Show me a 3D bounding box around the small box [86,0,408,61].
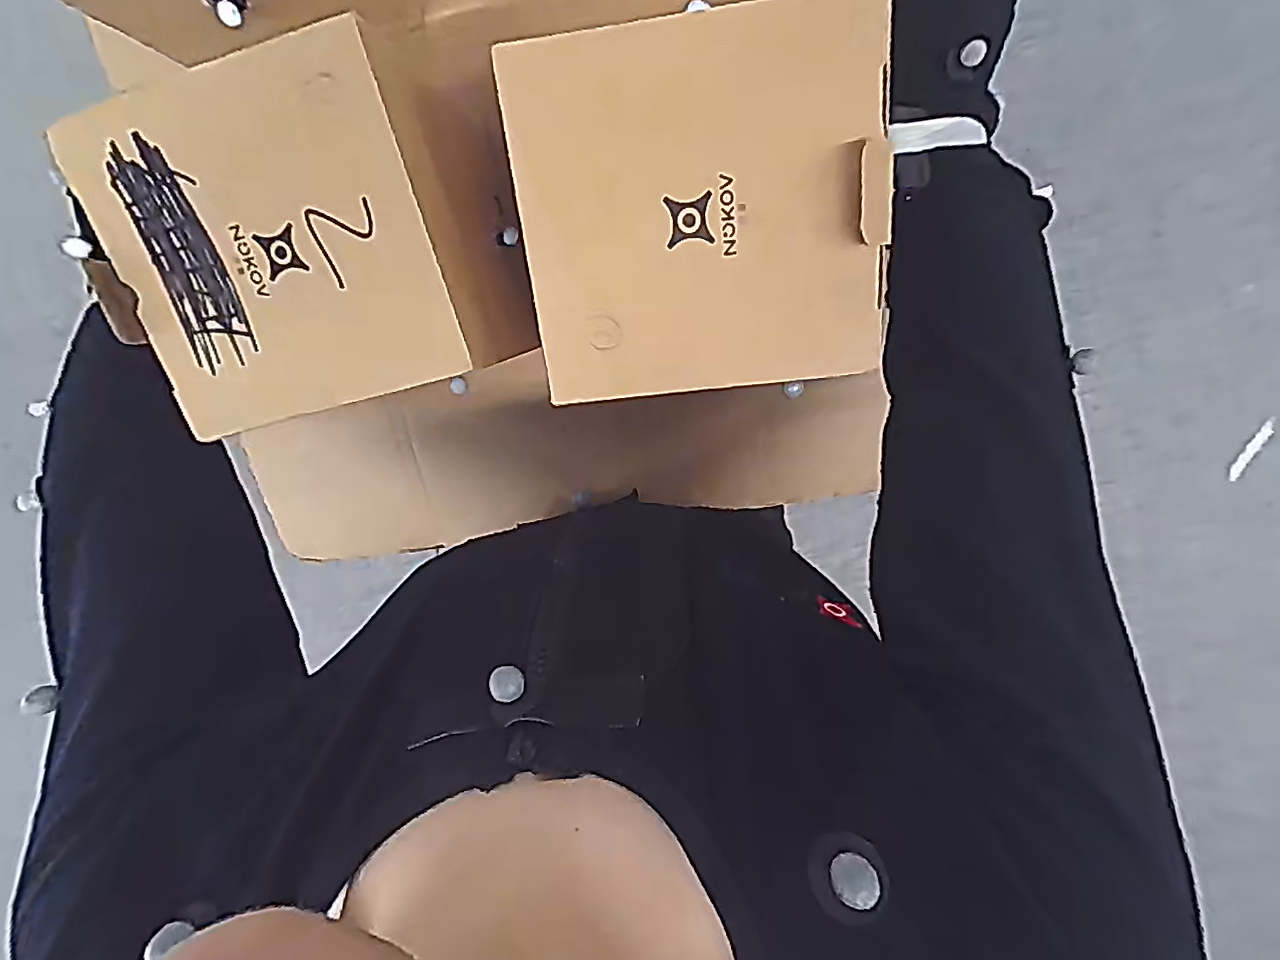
[{"bbox_3d":[-0.258,-0.371,0.296,0.168,0.176,0.179,-9,104,8],"label":"small box"}]
